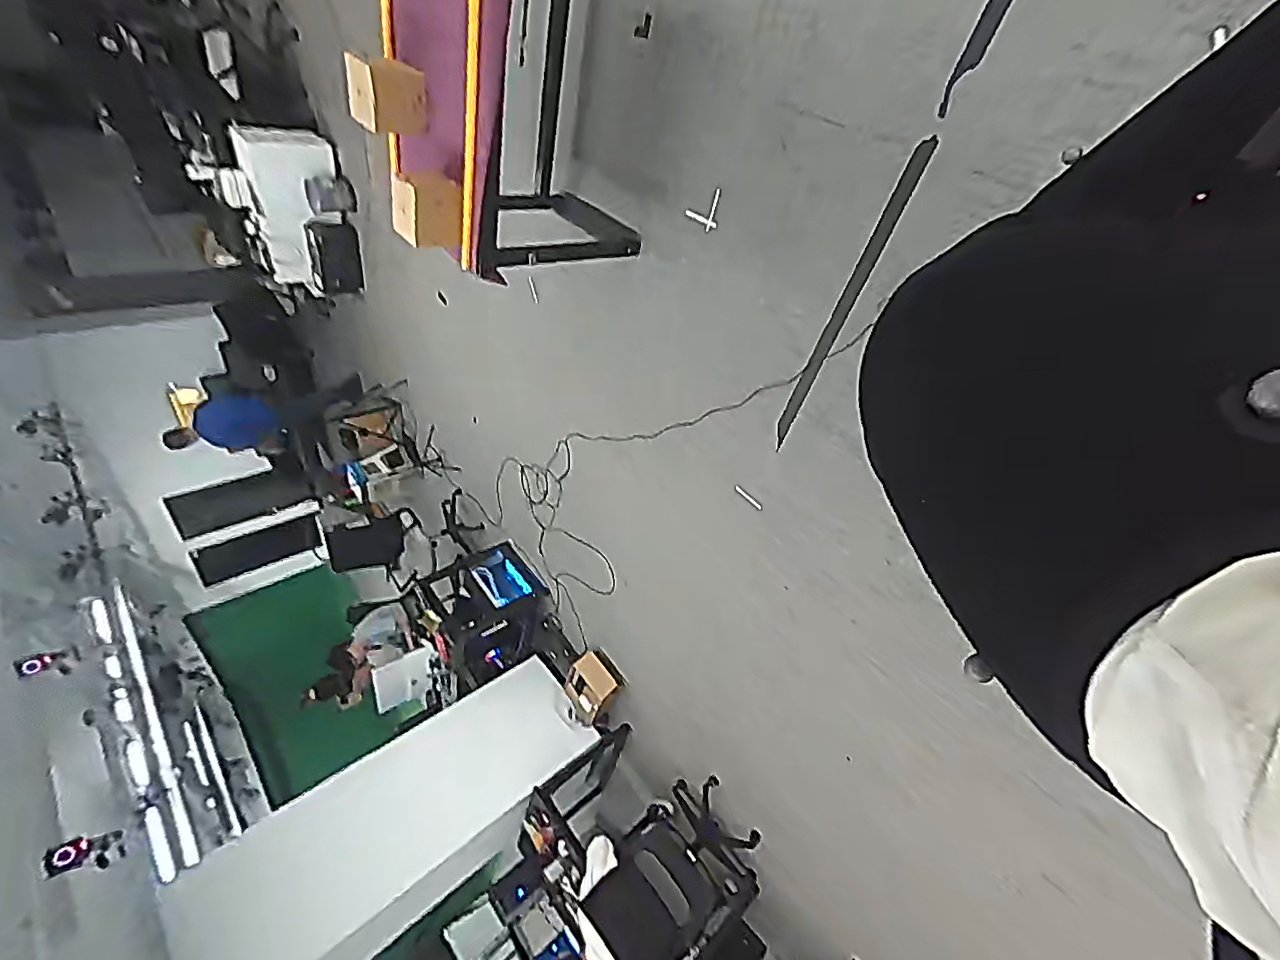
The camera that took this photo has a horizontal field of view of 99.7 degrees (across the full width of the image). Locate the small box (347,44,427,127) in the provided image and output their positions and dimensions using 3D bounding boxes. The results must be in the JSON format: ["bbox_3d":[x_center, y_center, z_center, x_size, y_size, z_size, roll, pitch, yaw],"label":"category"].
[{"bbox_3d":[-0.778,-1.214,1.672,0.179,0.176,0.168,43,137,25],"label":"small box"}]

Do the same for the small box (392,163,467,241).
[{"bbox_3d":[-0.665,-0.877,1.711,0.168,0.176,0.179,44,135,28],"label":"small box"}]
